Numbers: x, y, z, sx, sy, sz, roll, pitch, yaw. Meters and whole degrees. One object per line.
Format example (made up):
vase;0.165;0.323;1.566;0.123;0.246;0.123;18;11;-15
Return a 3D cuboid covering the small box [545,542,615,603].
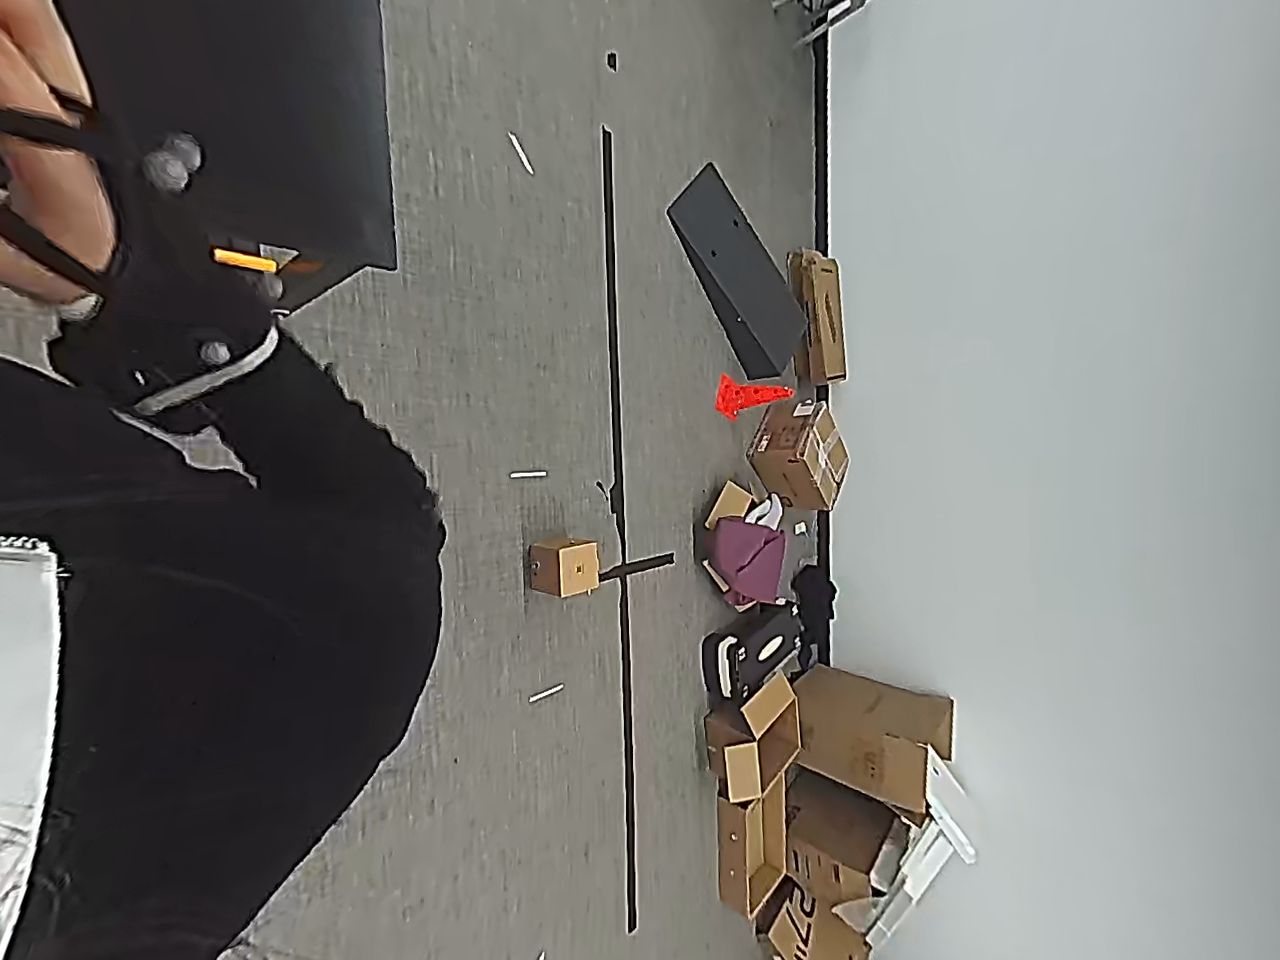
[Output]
small box;-0.208;0.315;1.879;0.179;0.176;0.168;-7;96;-47
